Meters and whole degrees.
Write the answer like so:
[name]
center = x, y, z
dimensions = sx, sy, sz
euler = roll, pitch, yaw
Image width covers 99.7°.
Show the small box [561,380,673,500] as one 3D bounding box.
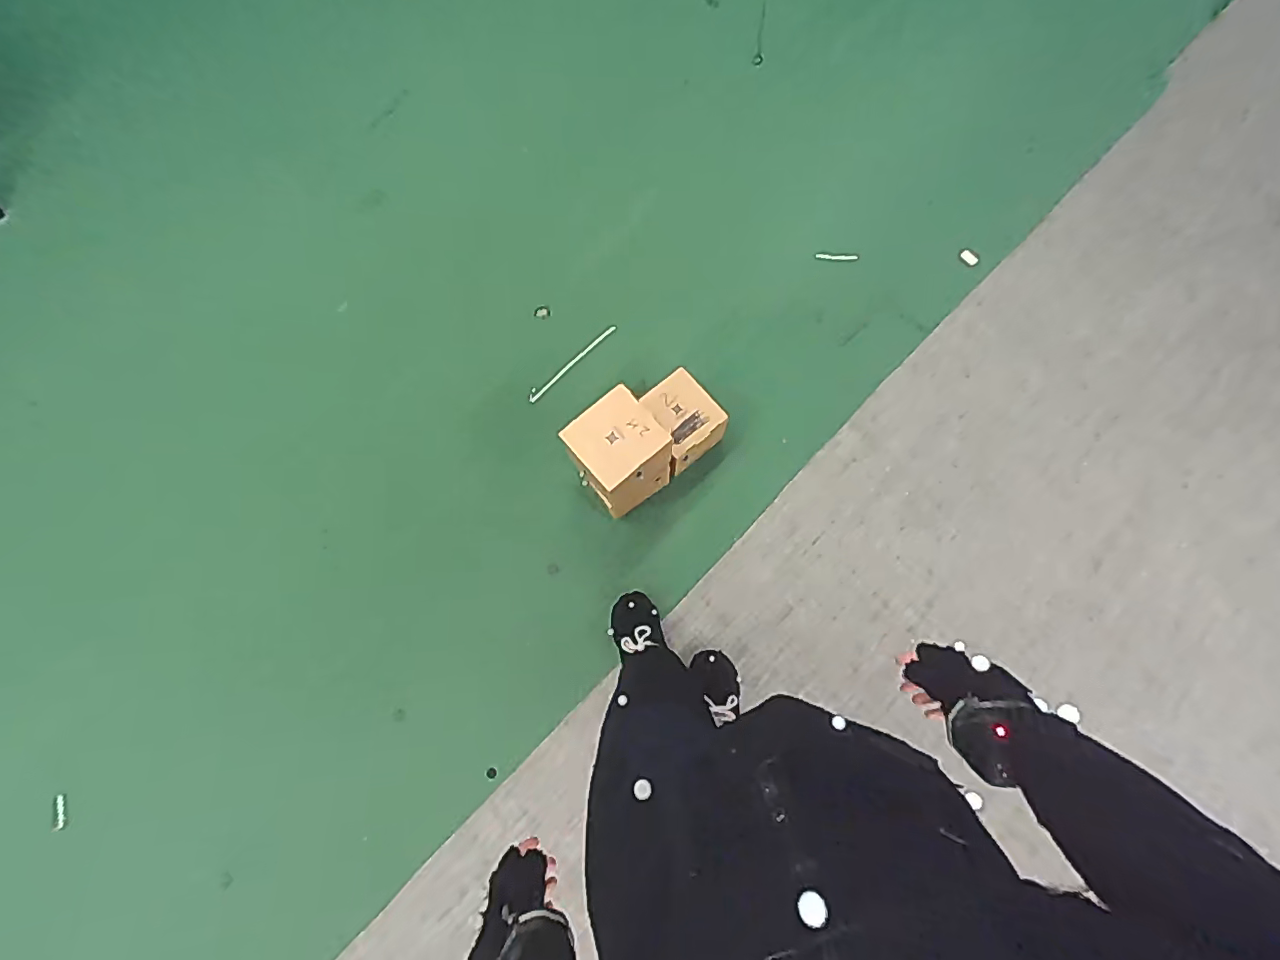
[small box]
center = -0.044, -0.078, 1.180
dimensions = 0.179, 0.176, 0.168
euler = -40, 79, -8
